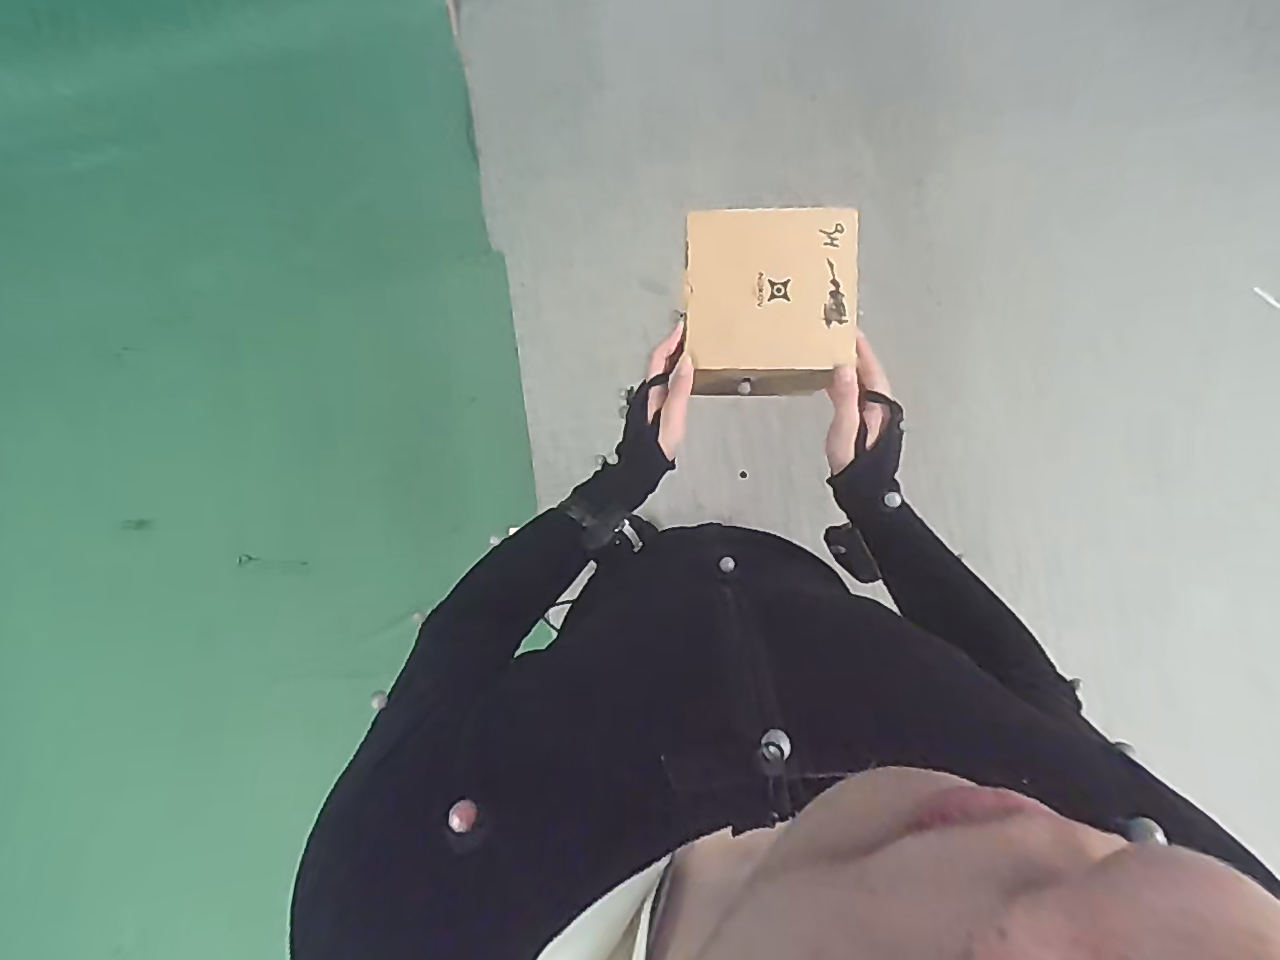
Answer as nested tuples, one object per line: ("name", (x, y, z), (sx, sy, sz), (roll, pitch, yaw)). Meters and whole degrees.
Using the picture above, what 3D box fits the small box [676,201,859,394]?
("small box", (0.133, -0.192, 0.614), (0.179, 0.176, 0.168), (1, 90, 5))
